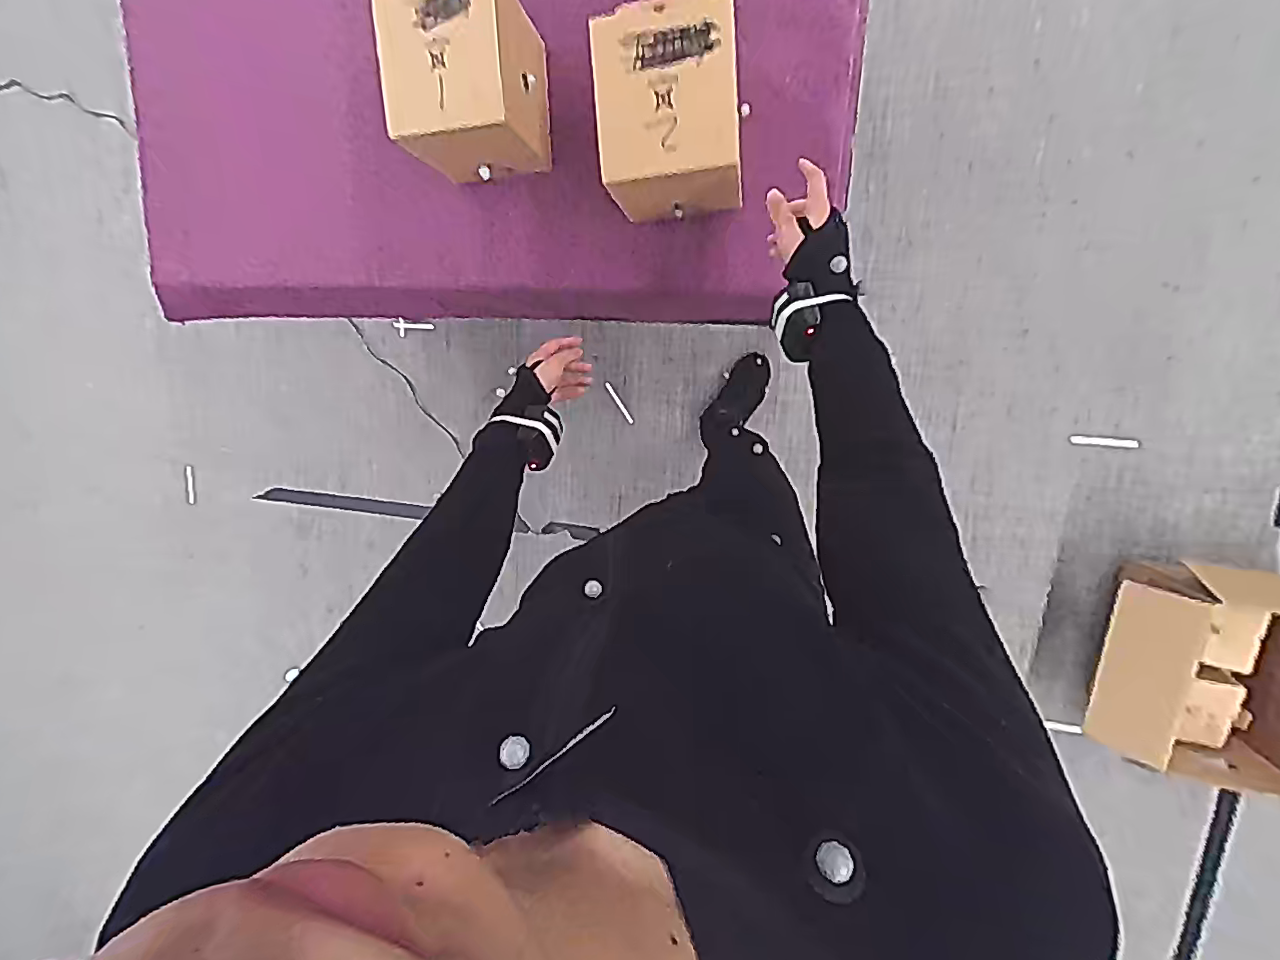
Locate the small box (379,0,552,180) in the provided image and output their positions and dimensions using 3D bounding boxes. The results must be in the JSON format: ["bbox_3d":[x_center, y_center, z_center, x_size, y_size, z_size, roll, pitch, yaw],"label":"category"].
[{"bbox_3d":[-0.229,-0.544,0.748,0.168,0.176,0.179,0,101,12],"label":"small box"}]
